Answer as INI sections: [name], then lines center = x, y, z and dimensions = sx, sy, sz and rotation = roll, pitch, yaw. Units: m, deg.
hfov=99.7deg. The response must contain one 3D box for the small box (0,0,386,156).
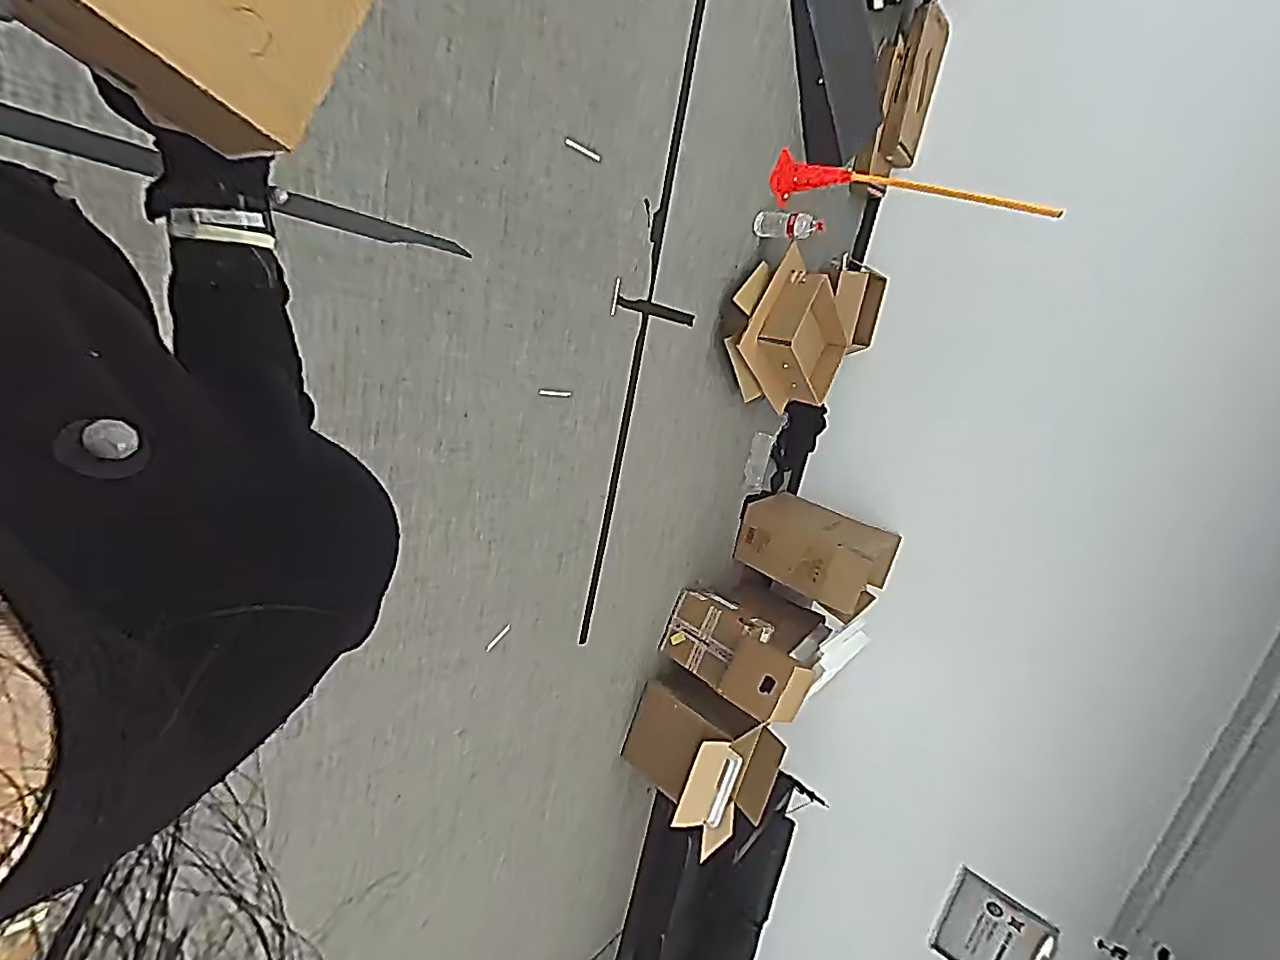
[small box]
center = -0.235, -0.292, 0.268
dimensions = 0.168, 0.176, 0.179
rotation = 27, 89, -50
